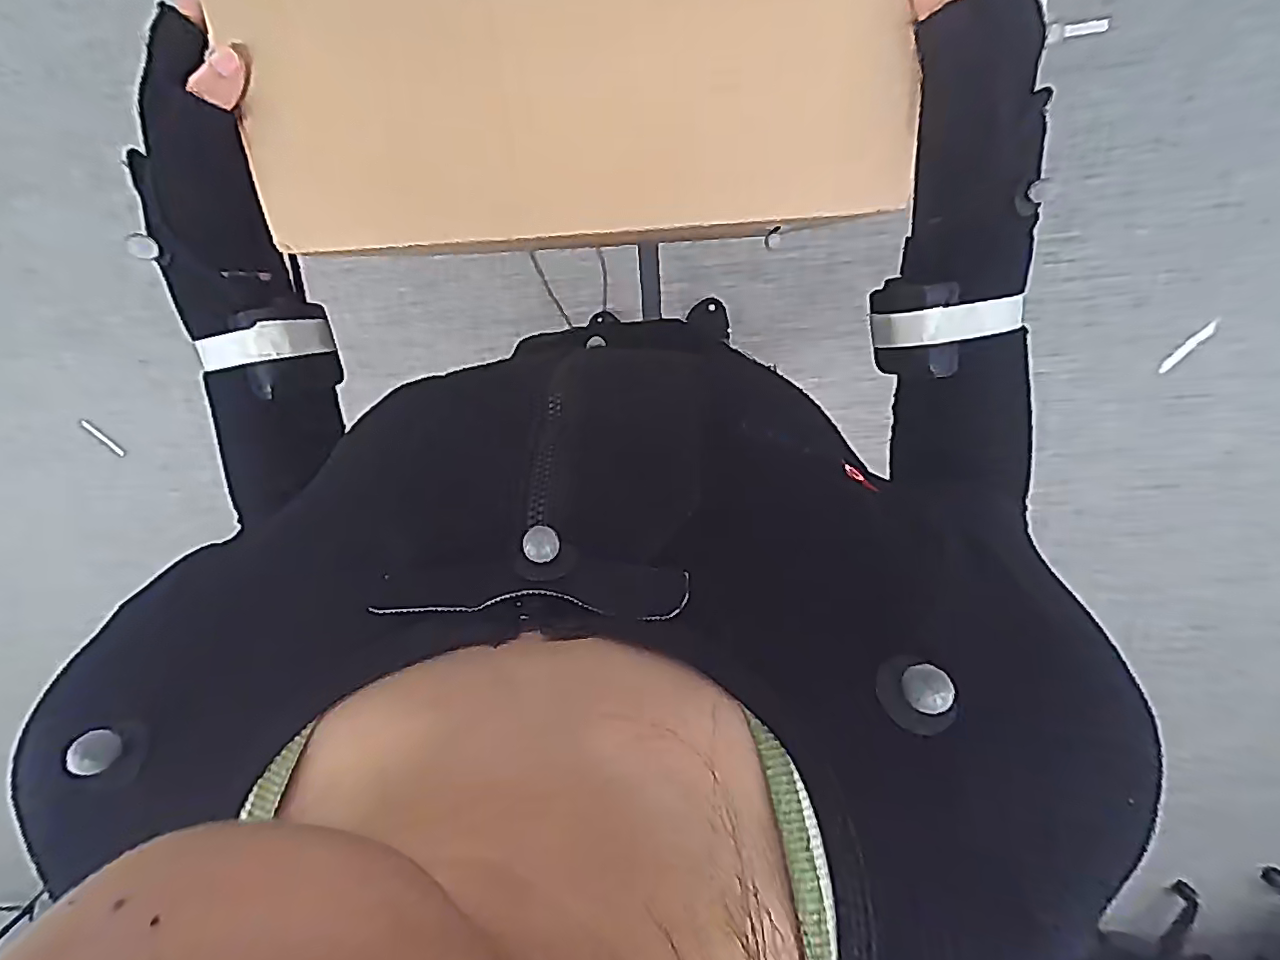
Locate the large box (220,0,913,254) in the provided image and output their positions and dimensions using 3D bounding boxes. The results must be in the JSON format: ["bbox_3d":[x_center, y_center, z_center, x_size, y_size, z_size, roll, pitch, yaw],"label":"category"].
[{"bbox_3d":[-0.041,-0.364,0.433,0.408,0.320,0.320,-3,112,1],"label":"large box"}]
